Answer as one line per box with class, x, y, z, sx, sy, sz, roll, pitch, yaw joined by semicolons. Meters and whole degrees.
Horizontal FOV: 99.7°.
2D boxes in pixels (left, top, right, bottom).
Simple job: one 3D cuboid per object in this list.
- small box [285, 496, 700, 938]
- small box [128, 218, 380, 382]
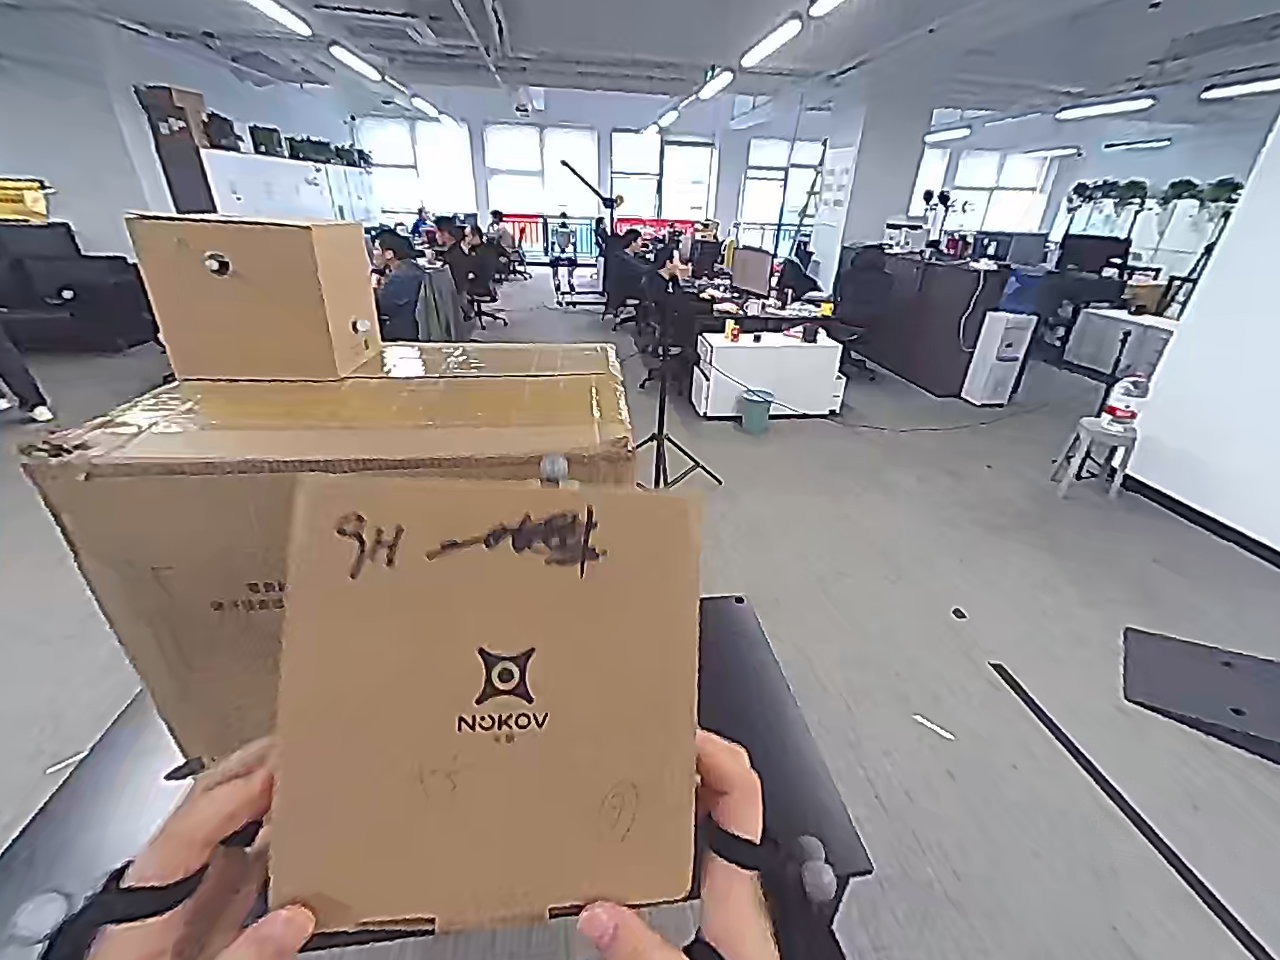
small box;-0.069;0.100;0.306;0.168;0.179;0.176;2;-4;-10
small box;-0.440;-0.219;0.654;0.179;0.176;0.168;0;26;-7
